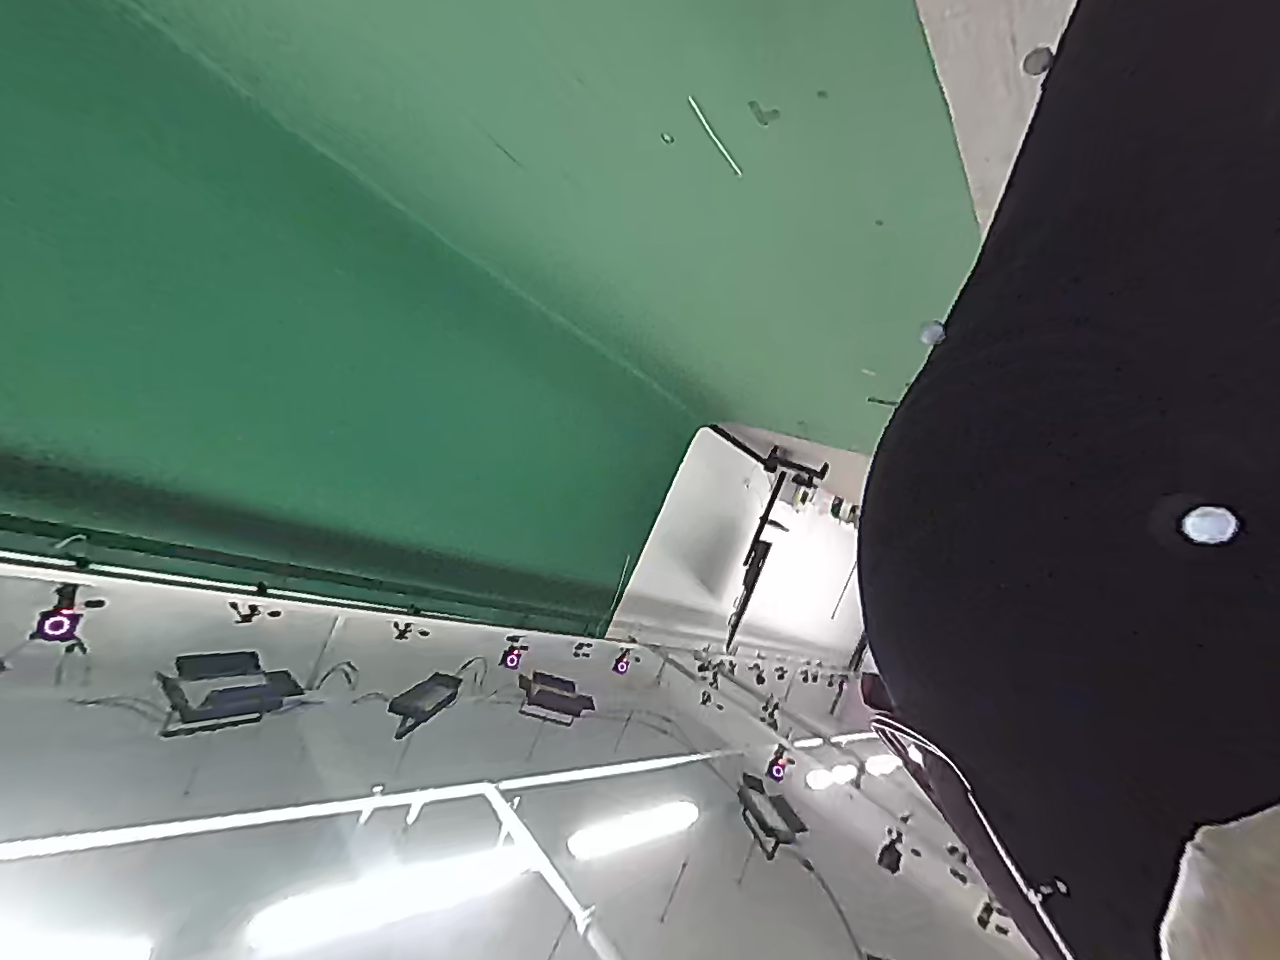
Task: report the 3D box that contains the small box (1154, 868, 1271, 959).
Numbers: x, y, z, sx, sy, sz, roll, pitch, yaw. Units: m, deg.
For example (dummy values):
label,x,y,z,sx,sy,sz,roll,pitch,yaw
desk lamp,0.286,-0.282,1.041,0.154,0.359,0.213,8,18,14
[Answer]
label,x,y,z,sx,sy,sz,roll,pitch,yaw
small box,1.556,1.211,1.478,0.168,0.176,0.179,23,-179,-43

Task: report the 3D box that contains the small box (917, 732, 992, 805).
label,x,y,z,sx,sy,sz,roll,pitch,yaw
small box,1.137,1.035,1.952,0.179,0.176,0.168,23,180,-43
